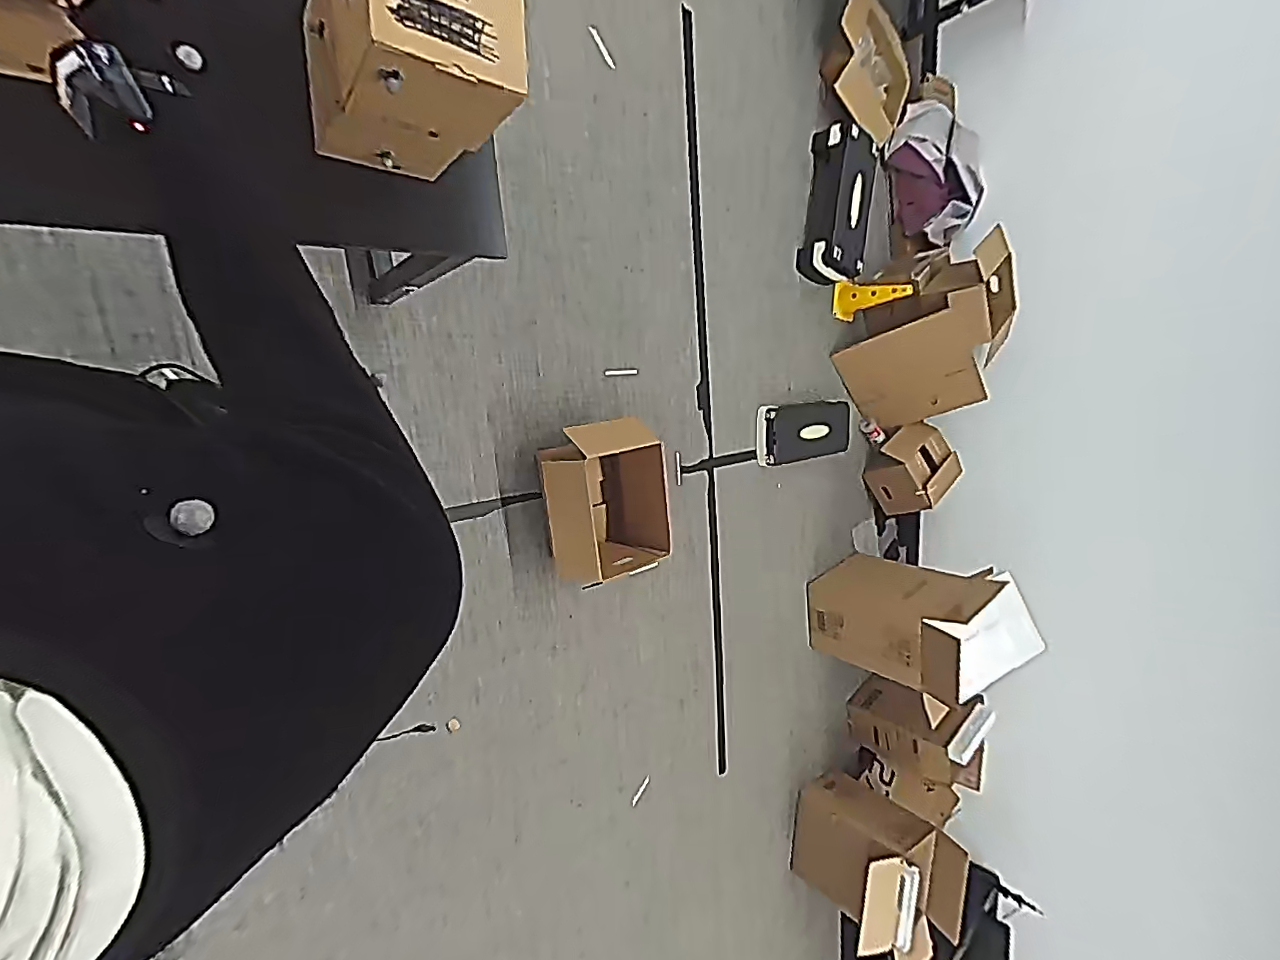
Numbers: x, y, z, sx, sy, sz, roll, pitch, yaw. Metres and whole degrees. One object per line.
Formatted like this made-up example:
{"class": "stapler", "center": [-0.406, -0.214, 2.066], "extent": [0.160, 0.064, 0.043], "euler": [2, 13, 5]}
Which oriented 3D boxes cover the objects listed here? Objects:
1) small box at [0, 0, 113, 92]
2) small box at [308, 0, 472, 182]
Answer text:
{"class": "small box", "center": [-0.633, -0.513, 0.507], "extent": [0.168, 0.176, 0.179], "euler": [-14, 105, -38]}
{"class": "small box", "center": [-0.343, -0.542, 0.738], "extent": [0.168, 0.176, 0.179], "euler": [-7, 100, -38]}
